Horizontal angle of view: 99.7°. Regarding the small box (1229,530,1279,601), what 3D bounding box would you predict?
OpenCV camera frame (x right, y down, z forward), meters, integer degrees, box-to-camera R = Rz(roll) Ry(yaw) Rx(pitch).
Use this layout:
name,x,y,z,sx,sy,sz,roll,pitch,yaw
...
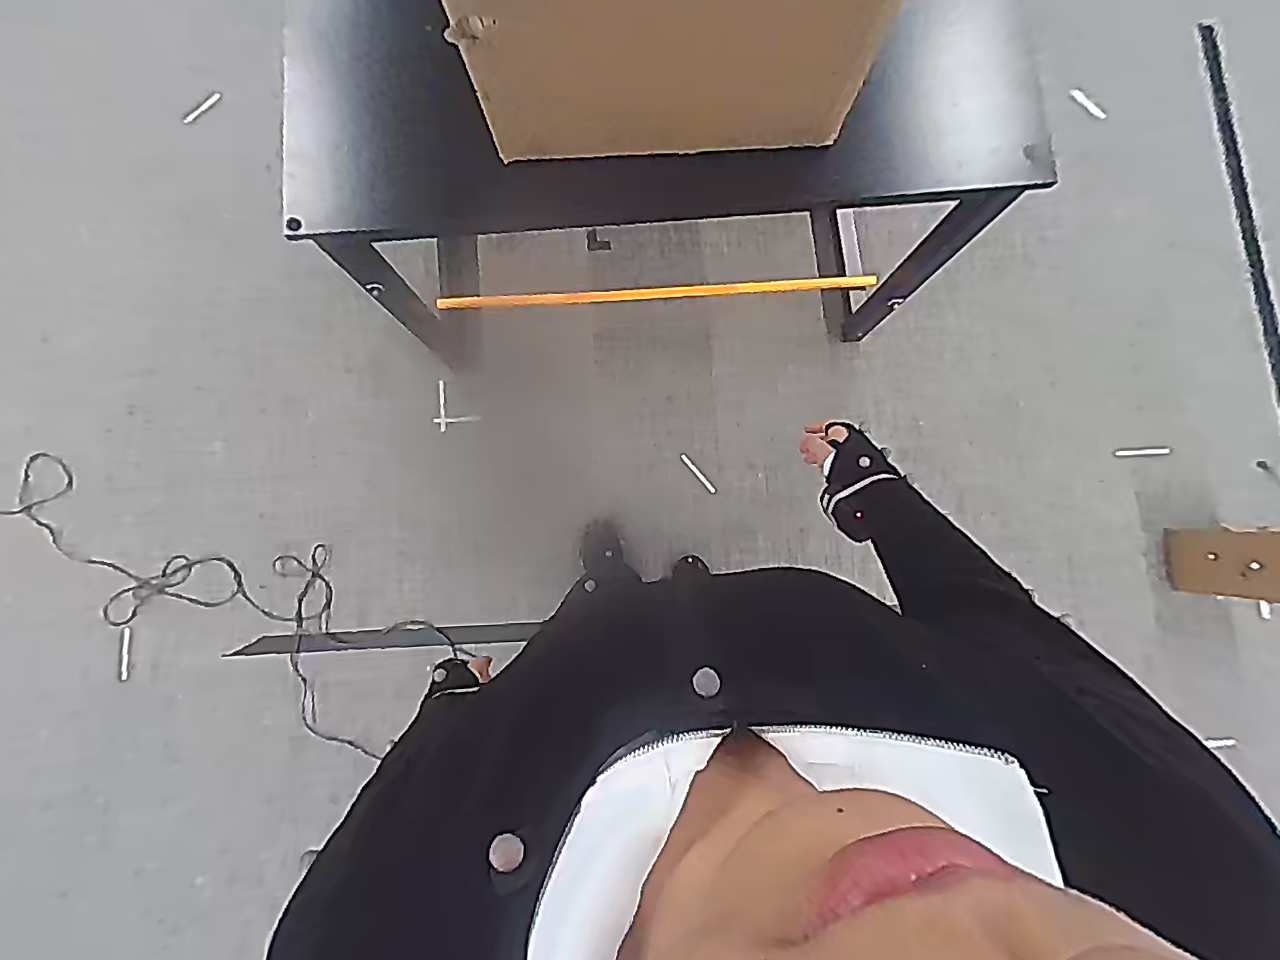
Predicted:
name,x,y,z,sx,sy,sz,roll,pitch,yaw
small box,1.560,0.200,1.266,0.179,0.176,0.168,0,84,0

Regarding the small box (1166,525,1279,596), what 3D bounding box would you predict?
name,x,y,z,sx,sy,sz,roll,pitch,yaw
small box,1.554,0.211,1.431,0.168,0.176,0.179,0,85,0
